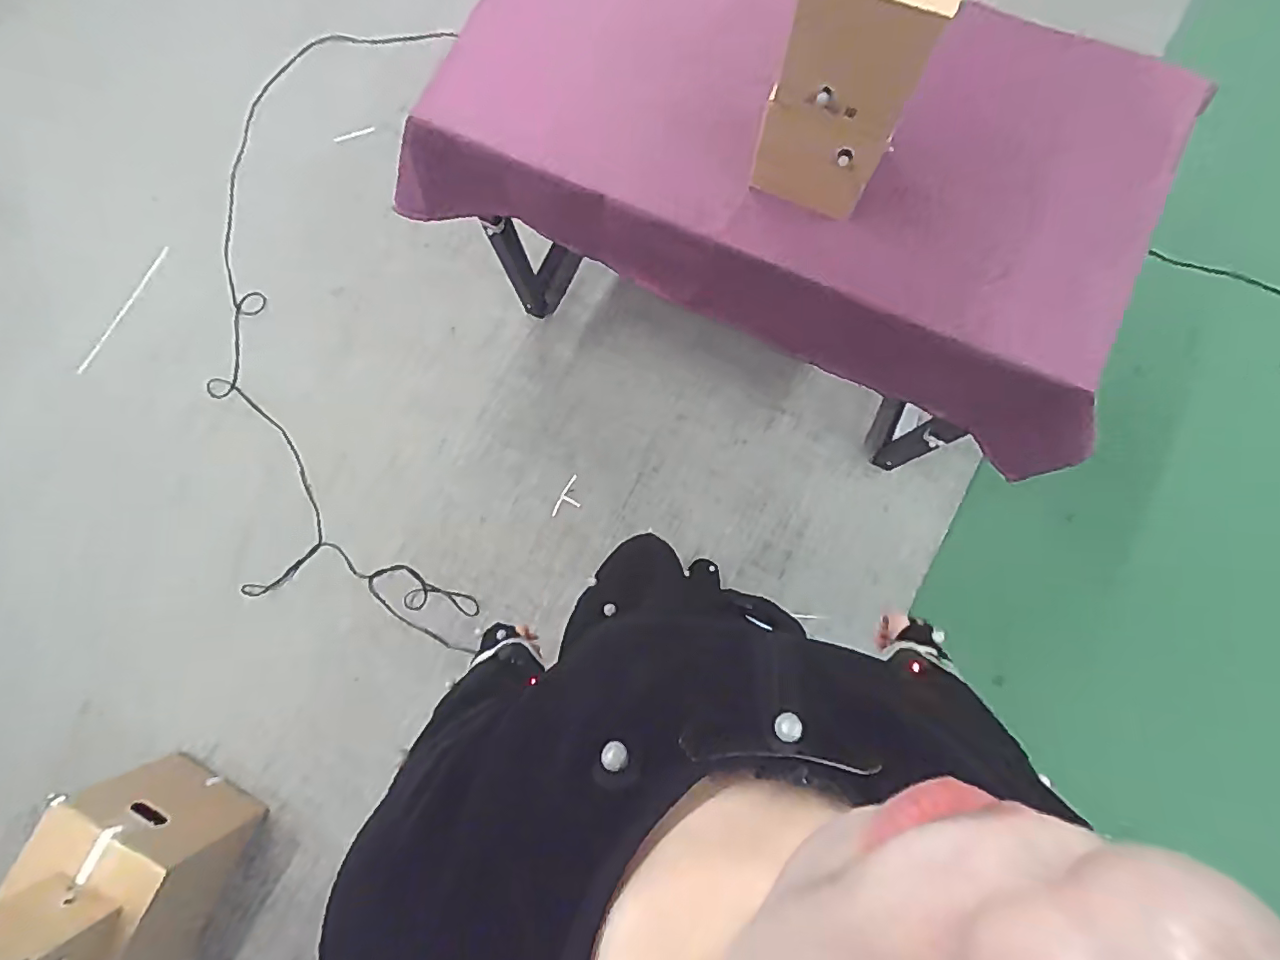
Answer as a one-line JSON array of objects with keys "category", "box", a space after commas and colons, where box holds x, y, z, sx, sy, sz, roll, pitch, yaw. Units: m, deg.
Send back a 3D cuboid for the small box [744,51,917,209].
[{"category": "small box", "box": [0.279, -0.554, 0.830, 0.179, 0.176, 0.168, 24, 81, 6]}]
